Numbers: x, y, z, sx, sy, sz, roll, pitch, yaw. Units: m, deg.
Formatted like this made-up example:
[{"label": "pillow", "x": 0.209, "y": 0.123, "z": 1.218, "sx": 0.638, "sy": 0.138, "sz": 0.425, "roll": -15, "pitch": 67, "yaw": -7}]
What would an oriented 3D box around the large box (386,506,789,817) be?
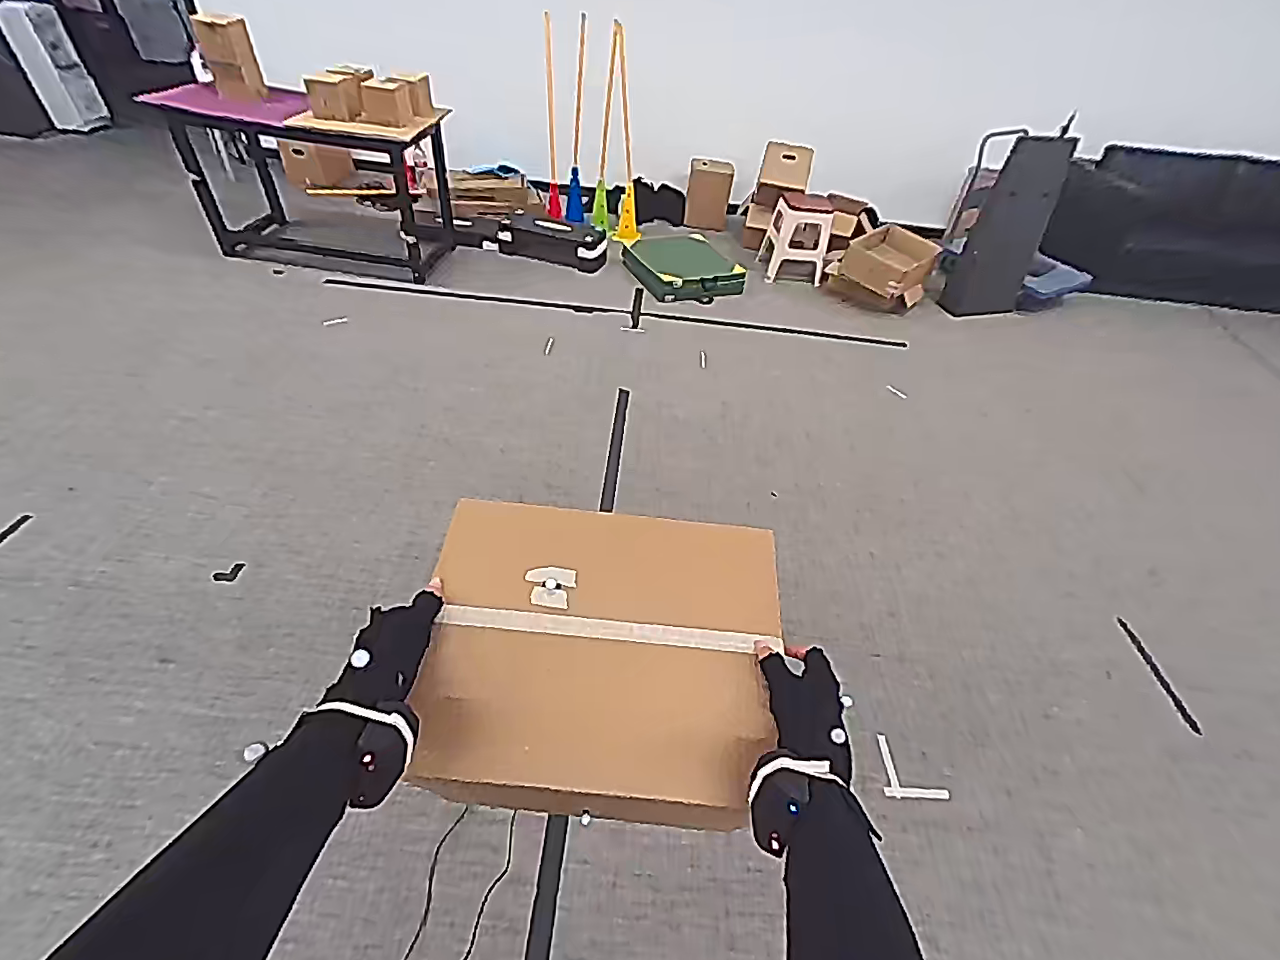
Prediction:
[{"label": "large box", "x": -0.048, "y": 0.259, "z": 0.734, "sx": 0.408, "sy": 0.320, "sz": 0.320, "roll": 6, "pitch": 54, "yaw": 0}]
